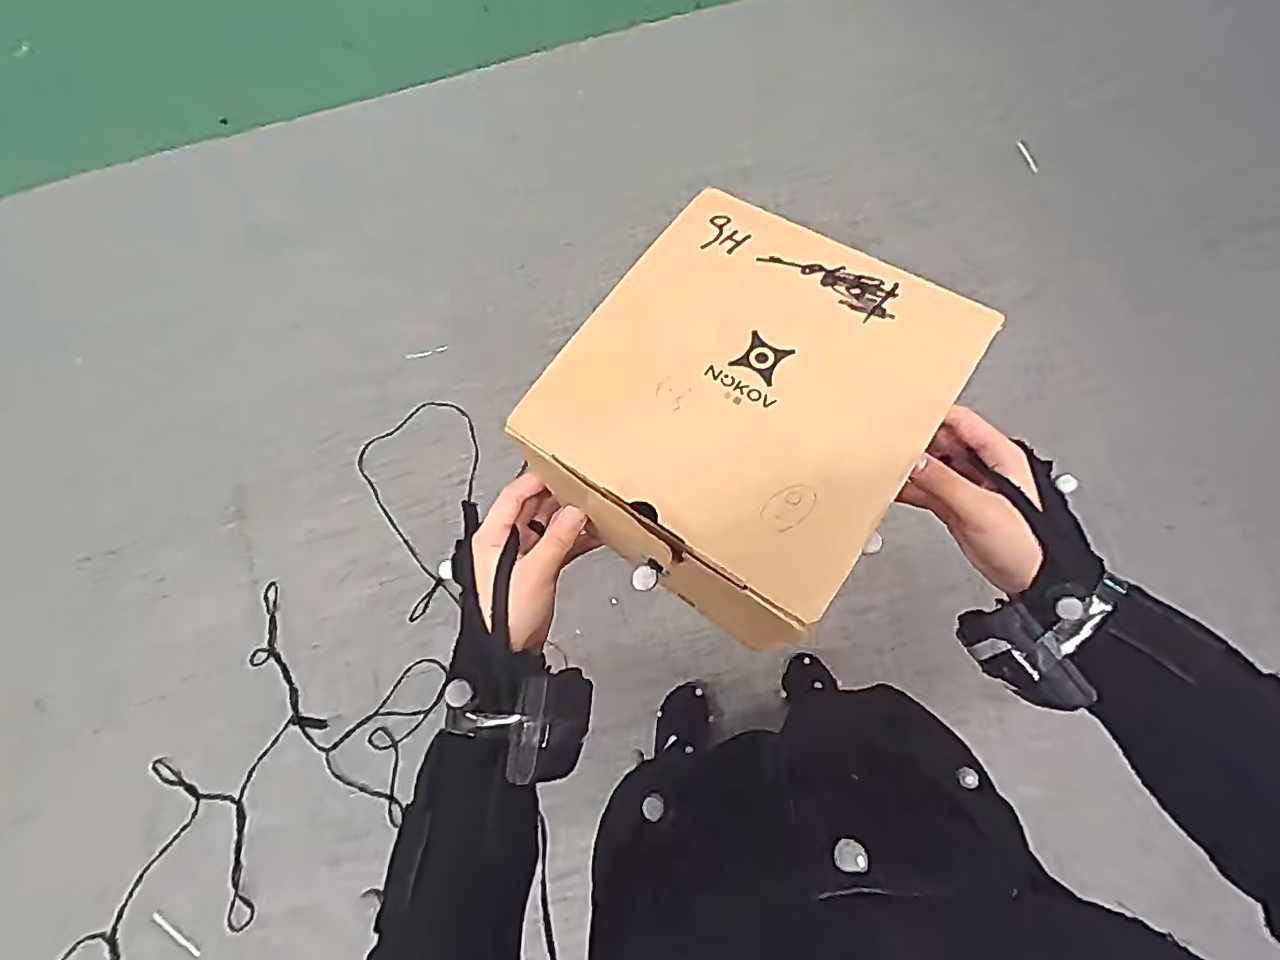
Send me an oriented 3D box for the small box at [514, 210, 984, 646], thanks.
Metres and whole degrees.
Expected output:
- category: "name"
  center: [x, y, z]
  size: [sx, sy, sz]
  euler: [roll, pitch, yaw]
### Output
- category: "small box"
  center: [0.060, -0.015, 0.335]
  size: [0.168, 0.176, 0.179]
  euler: [33, 77, 17]
